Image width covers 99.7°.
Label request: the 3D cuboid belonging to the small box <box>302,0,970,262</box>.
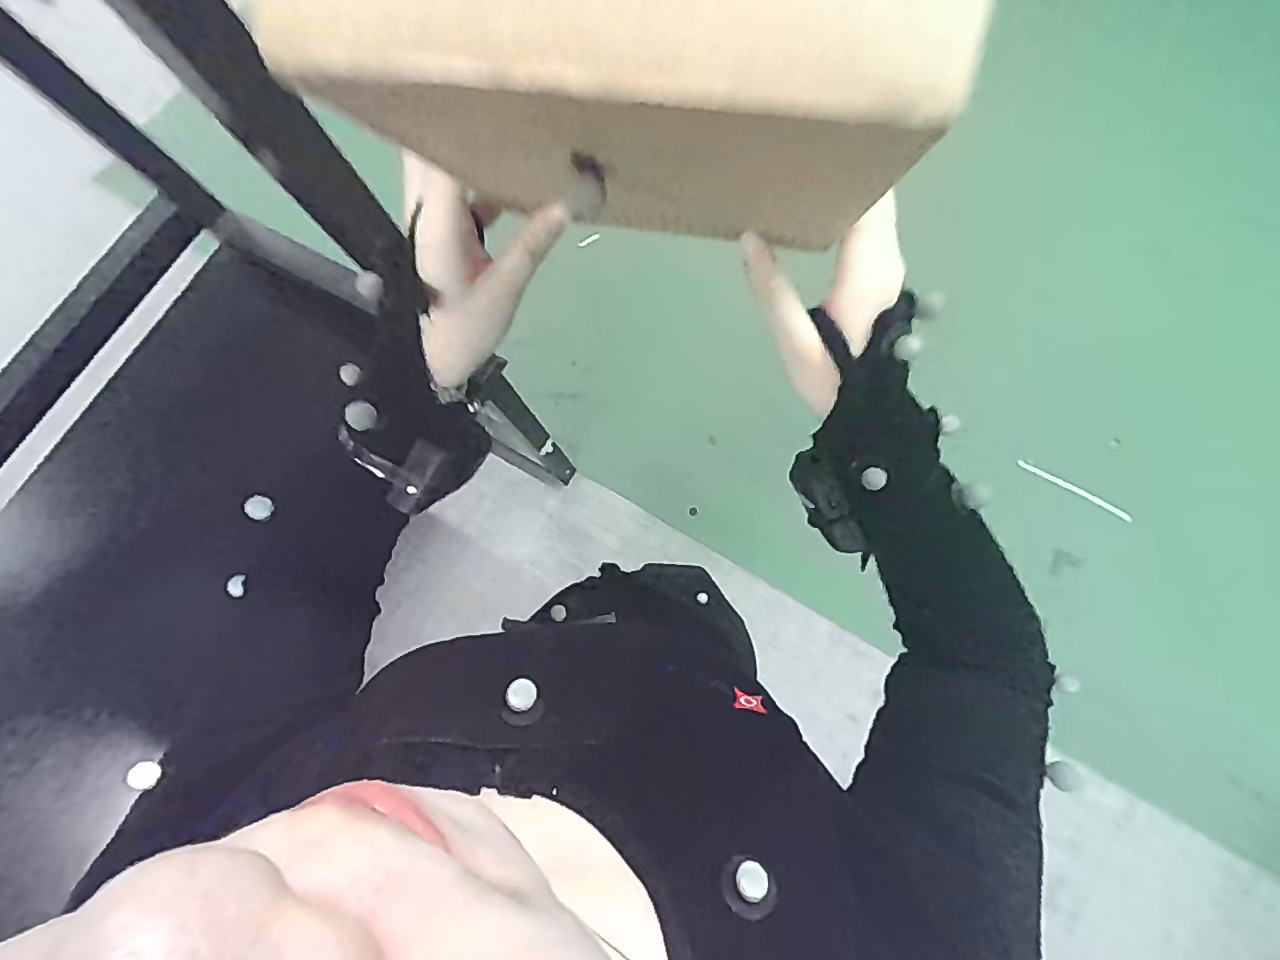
[{"bbox_3d":[0.013,-0.186,0.201,0.179,0.176,0.168,10,106,8],"label":"small box"}]
